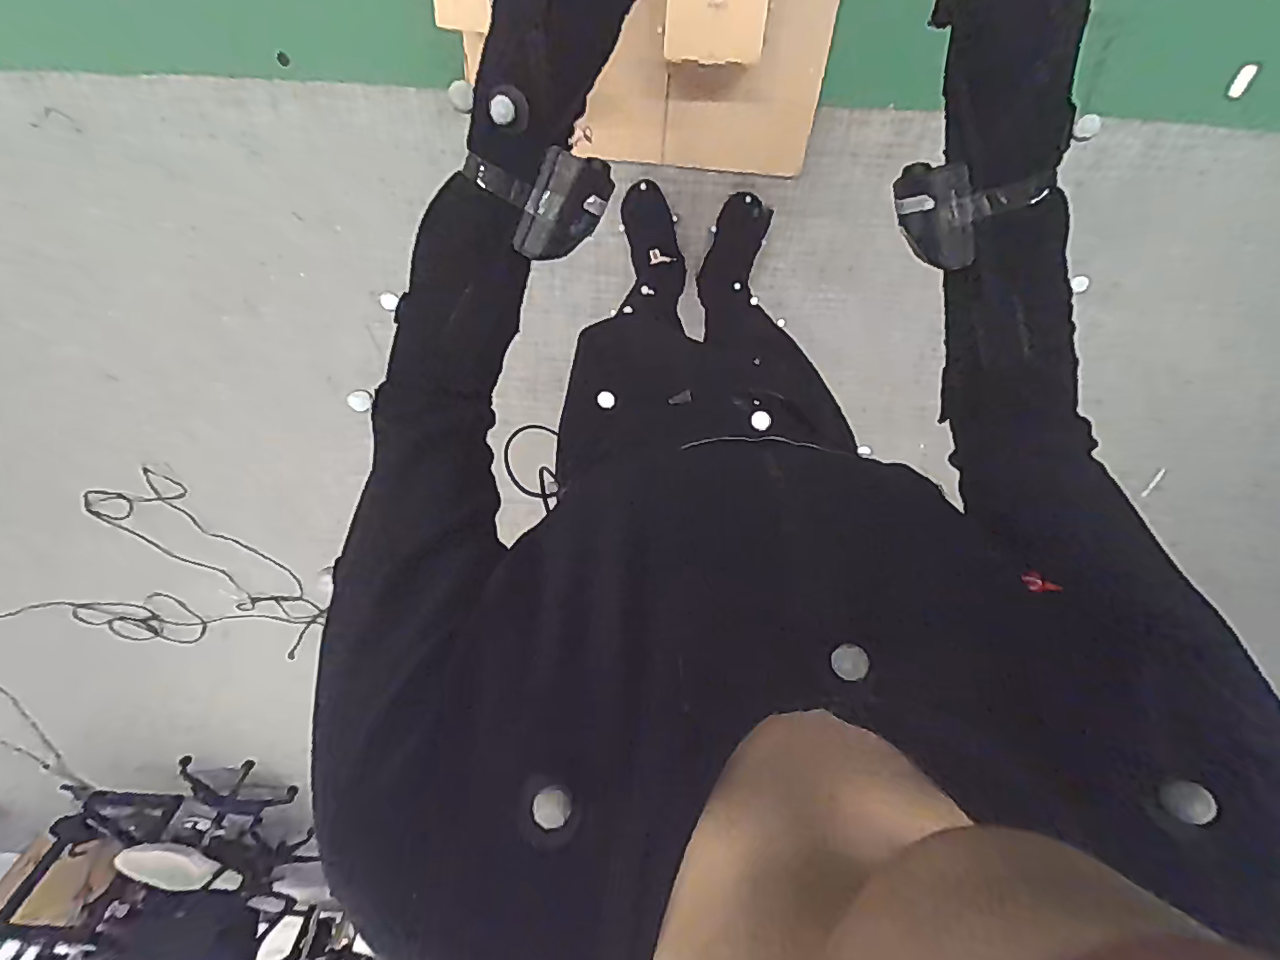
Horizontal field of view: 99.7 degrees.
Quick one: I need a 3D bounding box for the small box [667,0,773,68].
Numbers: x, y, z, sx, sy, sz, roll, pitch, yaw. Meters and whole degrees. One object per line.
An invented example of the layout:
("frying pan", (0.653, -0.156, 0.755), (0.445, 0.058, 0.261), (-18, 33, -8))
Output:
("small box", (0.134, -0.819, 0.923), (0.168, 0.176, 0.179), (4, 128, 1))
